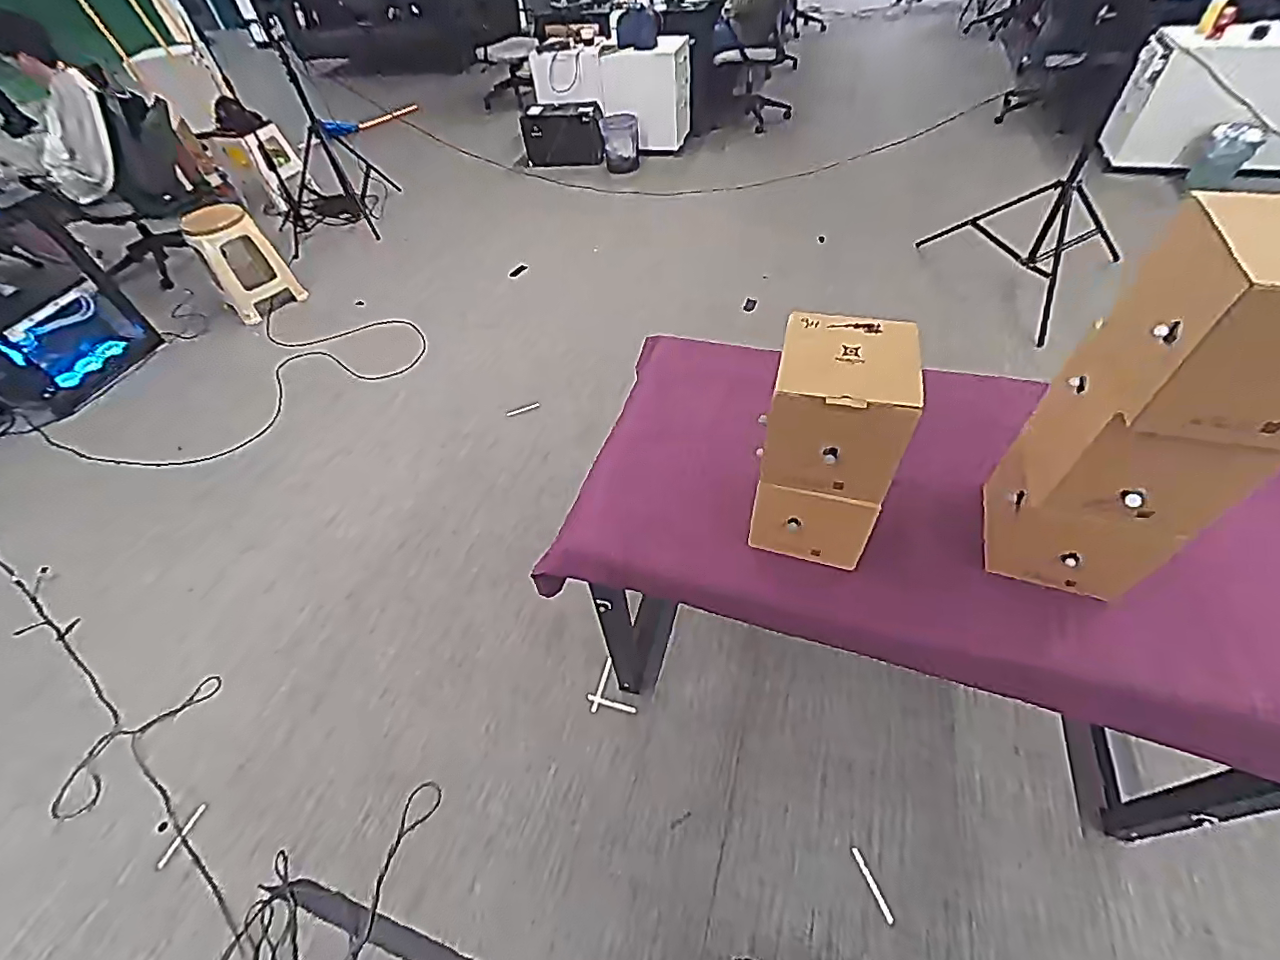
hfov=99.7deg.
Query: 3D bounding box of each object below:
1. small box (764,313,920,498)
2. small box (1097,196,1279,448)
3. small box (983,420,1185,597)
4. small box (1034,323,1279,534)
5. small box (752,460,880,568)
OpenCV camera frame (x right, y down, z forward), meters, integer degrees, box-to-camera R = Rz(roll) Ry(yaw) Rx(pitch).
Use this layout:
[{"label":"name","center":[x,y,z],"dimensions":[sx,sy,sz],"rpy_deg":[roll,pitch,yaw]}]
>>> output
[{"label":"small box","center":[0.265,-0.099,0.731],"dimensions":[0.168,0.176,0.179],"rpy_deg":[10,51,13]},{"label":"small box","center":[0.600,-0.152,0.529],"dimensions":[0.168,0.176,0.179],"rpy_deg":[11,51,14]},{"label":"small box","center":[0.625,0.044,0.790],"dimensions":[0.168,0.176,0.179],"rpy_deg":[14,52,16]},{"label":"small box","center":[0.617,-0.064,0.666],"dimensions":[0.168,0.176,0.179],"rpy_deg":[13,53,16]},{"label":"small box","center":[0.276,0.013,0.851],"dimensions":[0.168,0.176,0.179],"rpy_deg":[12,51,15]}]
